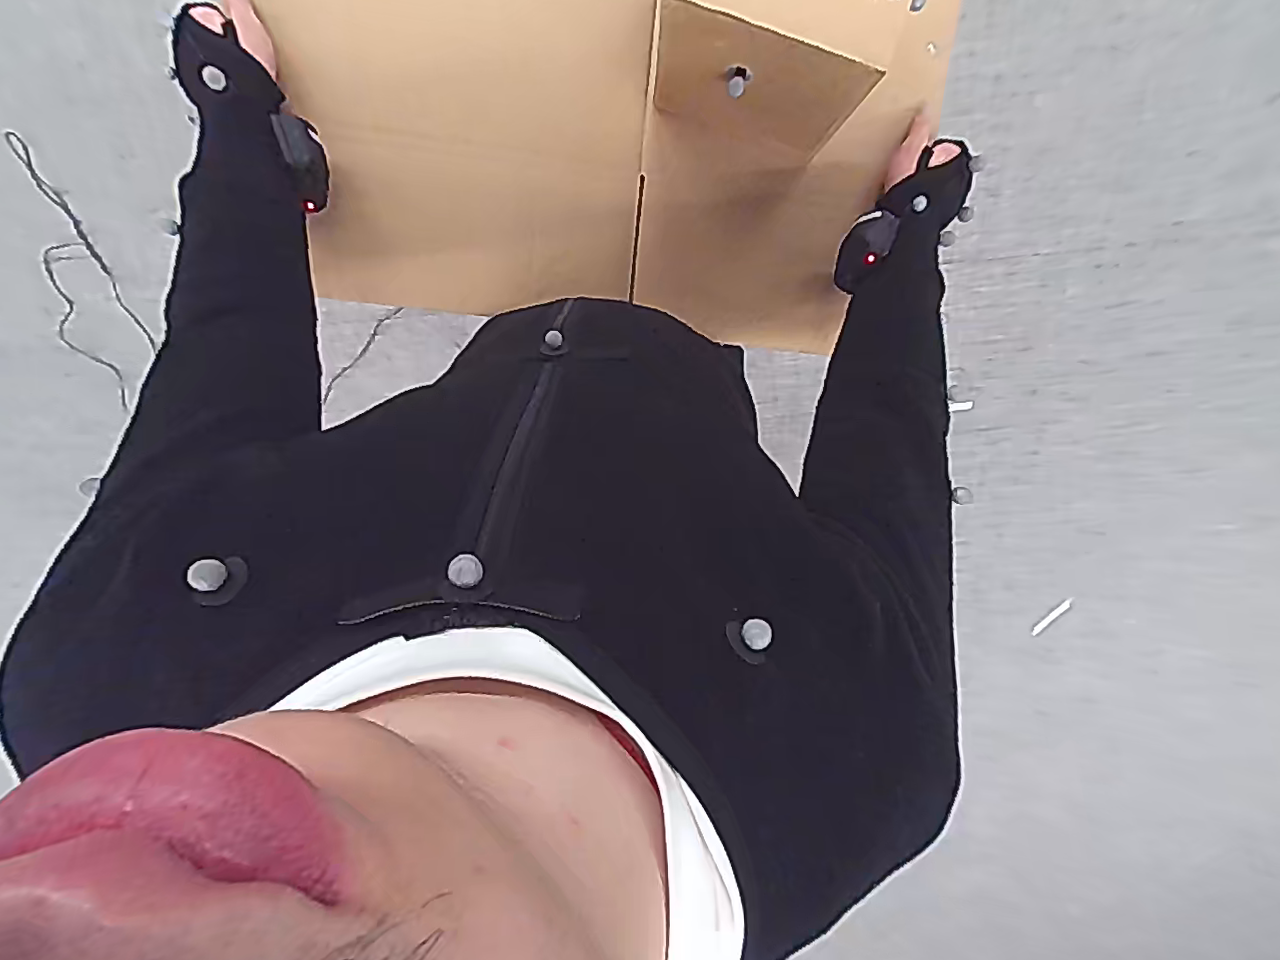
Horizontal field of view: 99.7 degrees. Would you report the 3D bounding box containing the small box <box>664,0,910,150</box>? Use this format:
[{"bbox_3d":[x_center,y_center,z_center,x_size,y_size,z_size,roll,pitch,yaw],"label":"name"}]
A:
[{"bbox_3d":[0.124,-0.418,0.464,0.179,0.176,0.168,16,101,-3],"label":"small box"}]
